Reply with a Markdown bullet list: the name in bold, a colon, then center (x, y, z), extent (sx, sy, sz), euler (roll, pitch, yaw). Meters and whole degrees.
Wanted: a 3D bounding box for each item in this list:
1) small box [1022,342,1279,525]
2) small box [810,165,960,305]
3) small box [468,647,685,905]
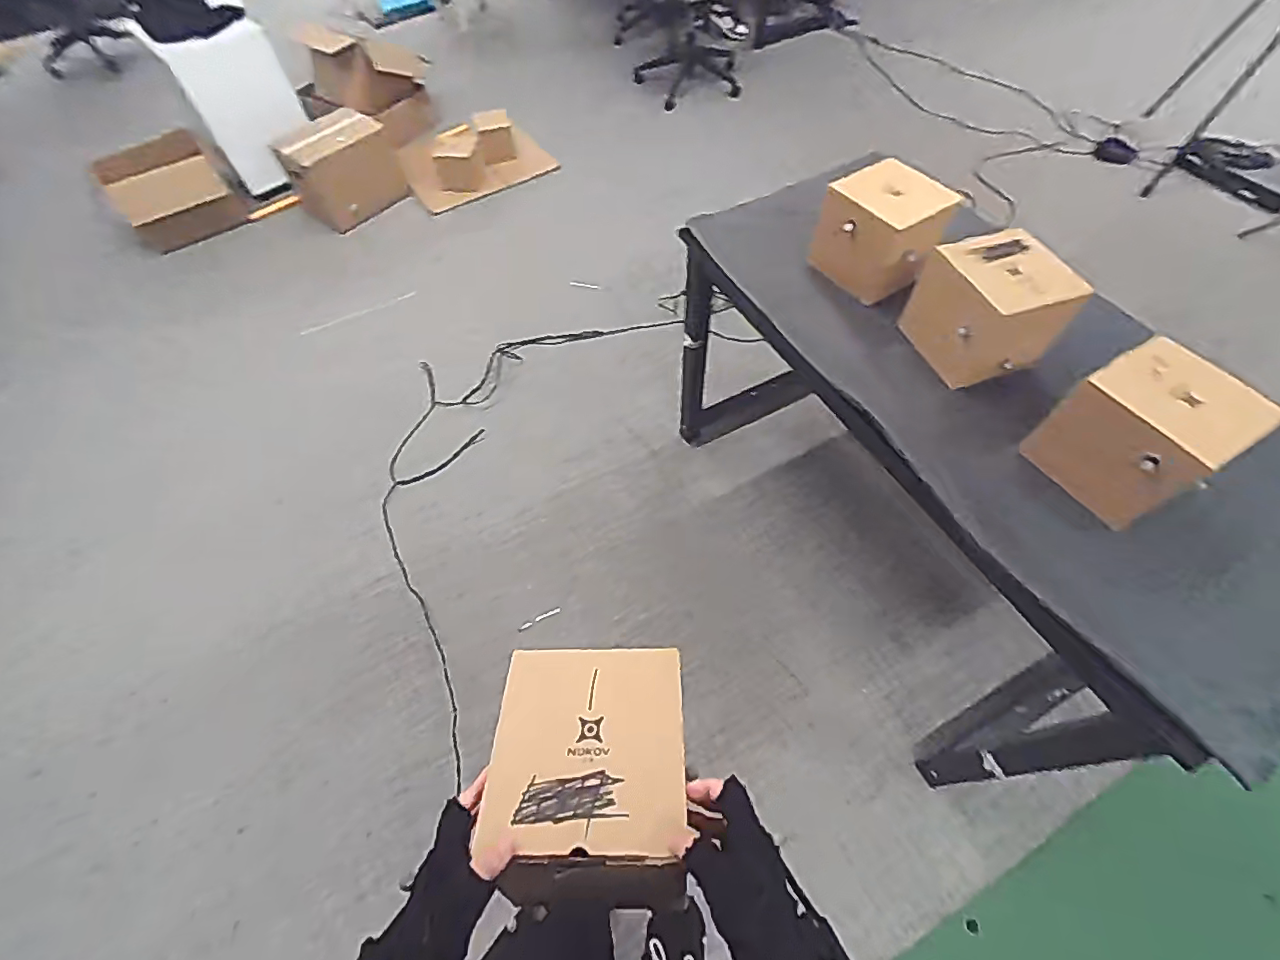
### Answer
- **small box**: center (0.712, -0.058, 0.774), extent (0.168, 0.176, 0.179), euler (-26, 60, -15)
- **small box**: center (0.464, -0.467, 1.050), extent (0.168, 0.176, 0.179), euler (-30, 61, -16)
- **small box**: center (-0.043, 0.282, 0.514), extent (0.168, 0.176, 0.179), euler (-2, 41, 2)
